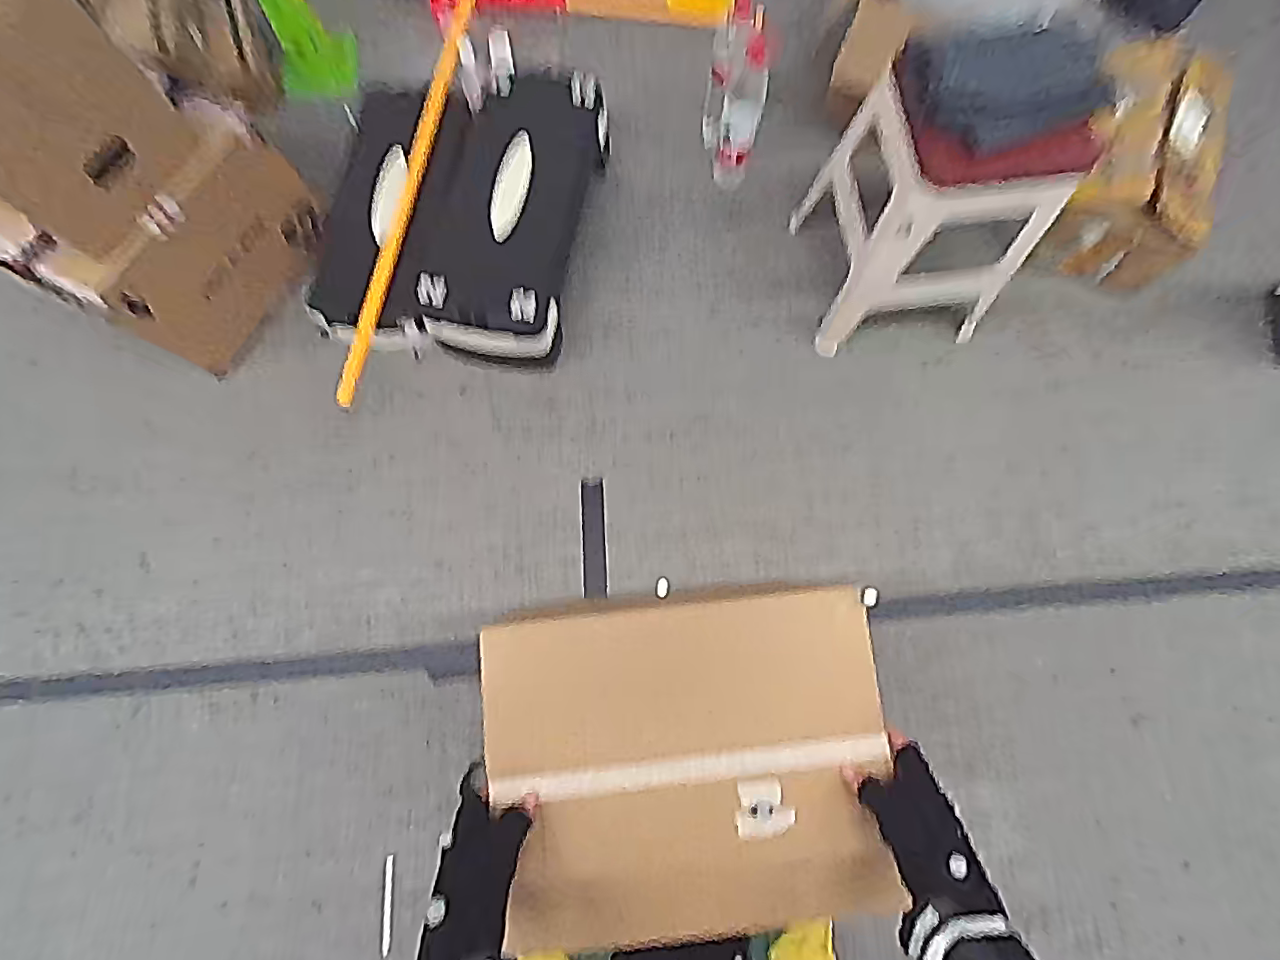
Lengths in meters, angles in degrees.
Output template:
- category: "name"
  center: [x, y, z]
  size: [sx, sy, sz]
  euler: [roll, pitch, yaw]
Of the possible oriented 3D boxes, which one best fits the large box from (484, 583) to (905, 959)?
- category: "large box"
  center: [0.046, 0.314, 0.699]
  size: [0.408, 0.320, 0.320]
  euler: [-7, 82, -2]
